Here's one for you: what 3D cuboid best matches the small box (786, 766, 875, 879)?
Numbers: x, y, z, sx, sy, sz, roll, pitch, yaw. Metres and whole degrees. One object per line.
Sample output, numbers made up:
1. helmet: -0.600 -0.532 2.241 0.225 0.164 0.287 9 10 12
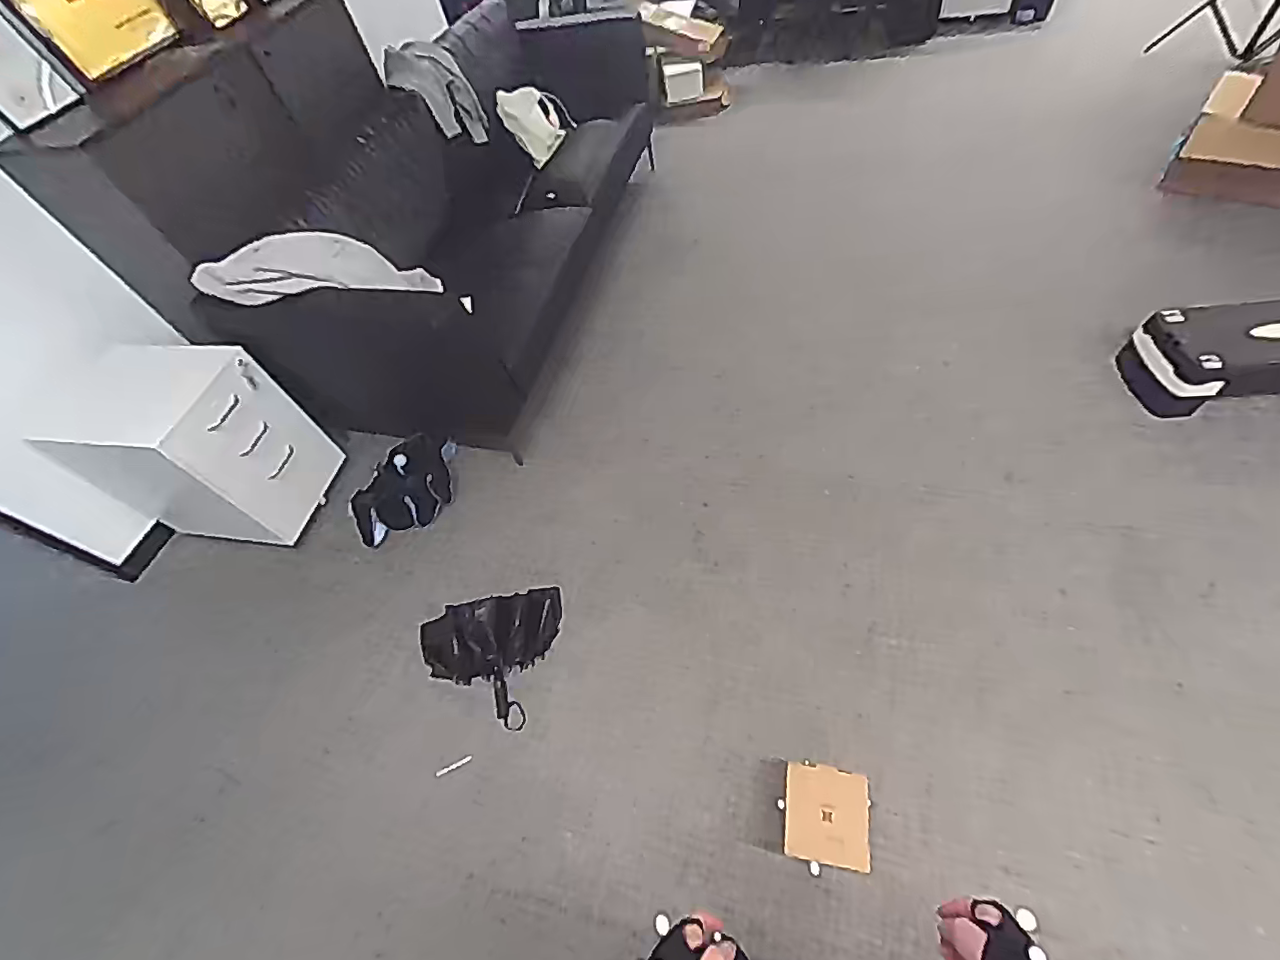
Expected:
1. small box: 0.409 0.745 1.180 0.168 0.176 0.179 2 57 15
